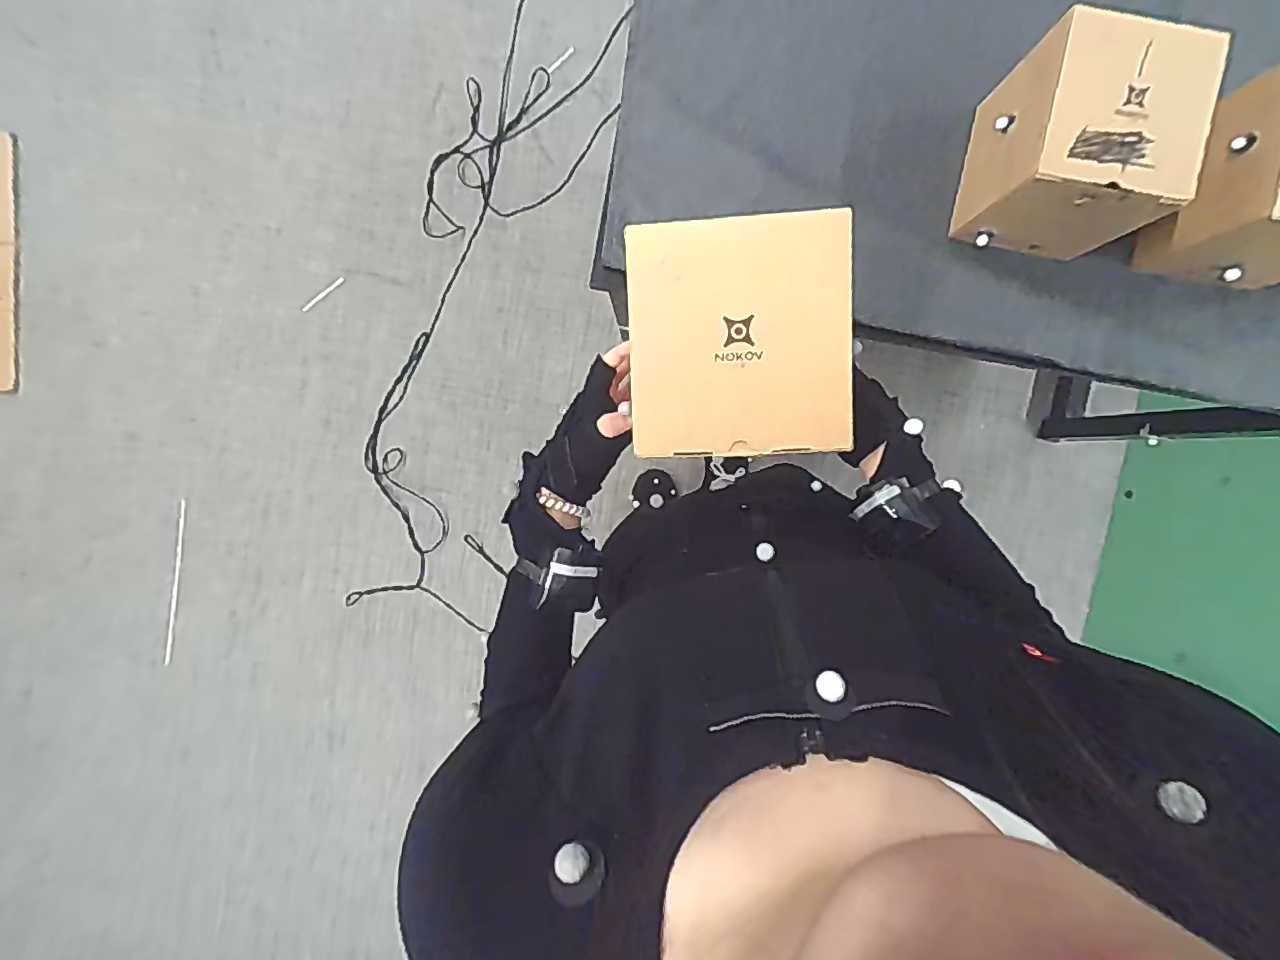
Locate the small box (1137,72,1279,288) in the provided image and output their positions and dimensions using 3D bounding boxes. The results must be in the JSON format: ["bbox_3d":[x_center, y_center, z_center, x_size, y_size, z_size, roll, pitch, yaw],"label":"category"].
[{"bbox_3d":[0.743,-0.348,0.632,0.168,0.176,0.179,10,93,1],"label":"small box"}]

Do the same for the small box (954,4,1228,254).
[{"bbox_3d":[0.504,-0.389,0.635,0.168,0.176,0.179,11,92,0],"label":"small box"}]

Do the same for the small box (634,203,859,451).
[{"bbox_3d":[0.083,-0.117,0.478,0.168,0.176,0.179,-2,96,5],"label":"small box"}]
